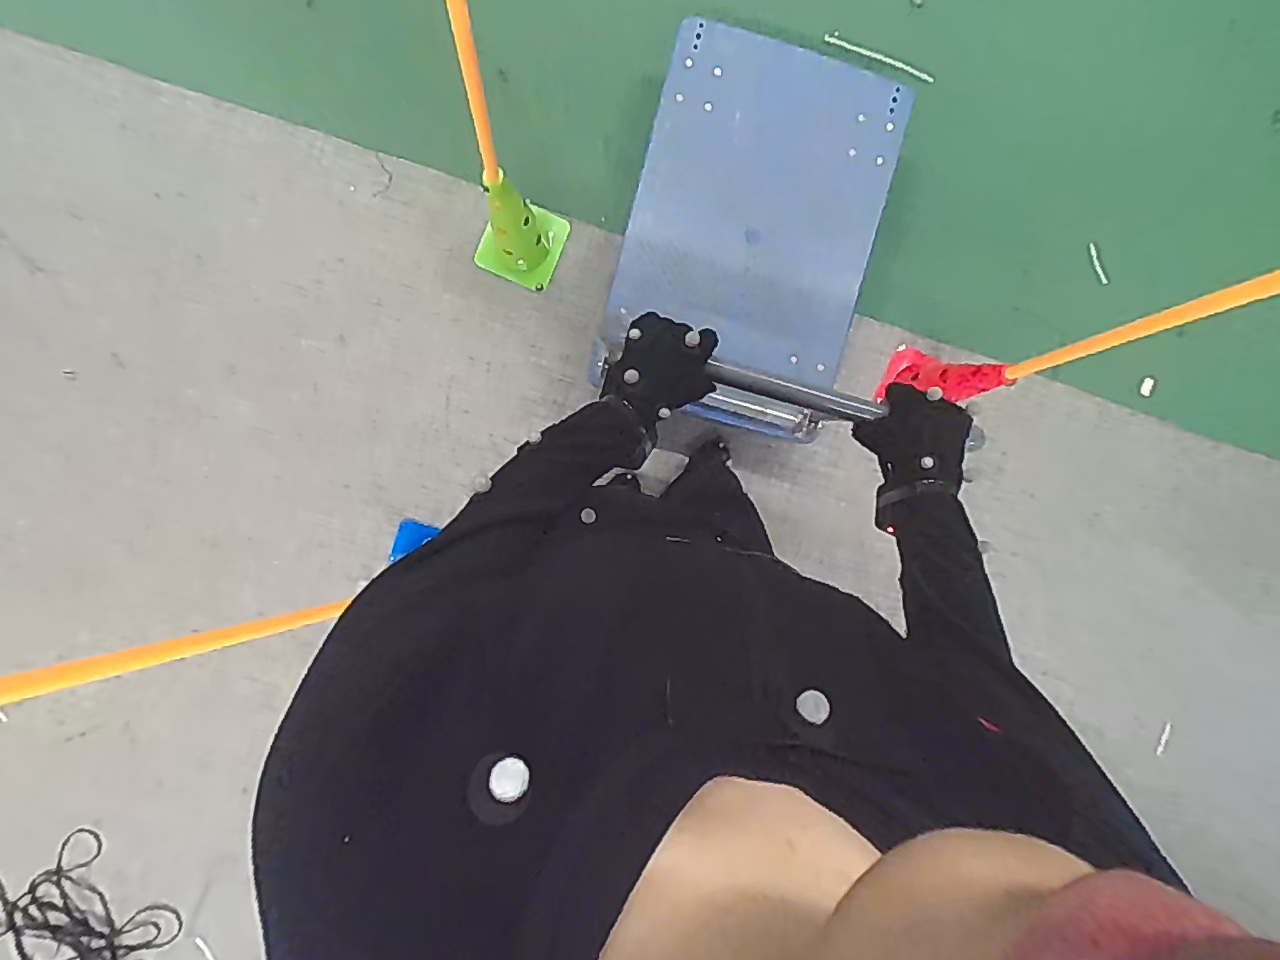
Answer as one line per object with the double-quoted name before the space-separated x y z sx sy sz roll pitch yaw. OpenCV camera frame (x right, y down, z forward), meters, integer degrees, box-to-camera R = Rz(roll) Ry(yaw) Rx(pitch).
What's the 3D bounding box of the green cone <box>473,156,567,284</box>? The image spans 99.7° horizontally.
"green cone" -0.304 -0.626 1.237 0.202 0.368 0.200 22 92 -4
